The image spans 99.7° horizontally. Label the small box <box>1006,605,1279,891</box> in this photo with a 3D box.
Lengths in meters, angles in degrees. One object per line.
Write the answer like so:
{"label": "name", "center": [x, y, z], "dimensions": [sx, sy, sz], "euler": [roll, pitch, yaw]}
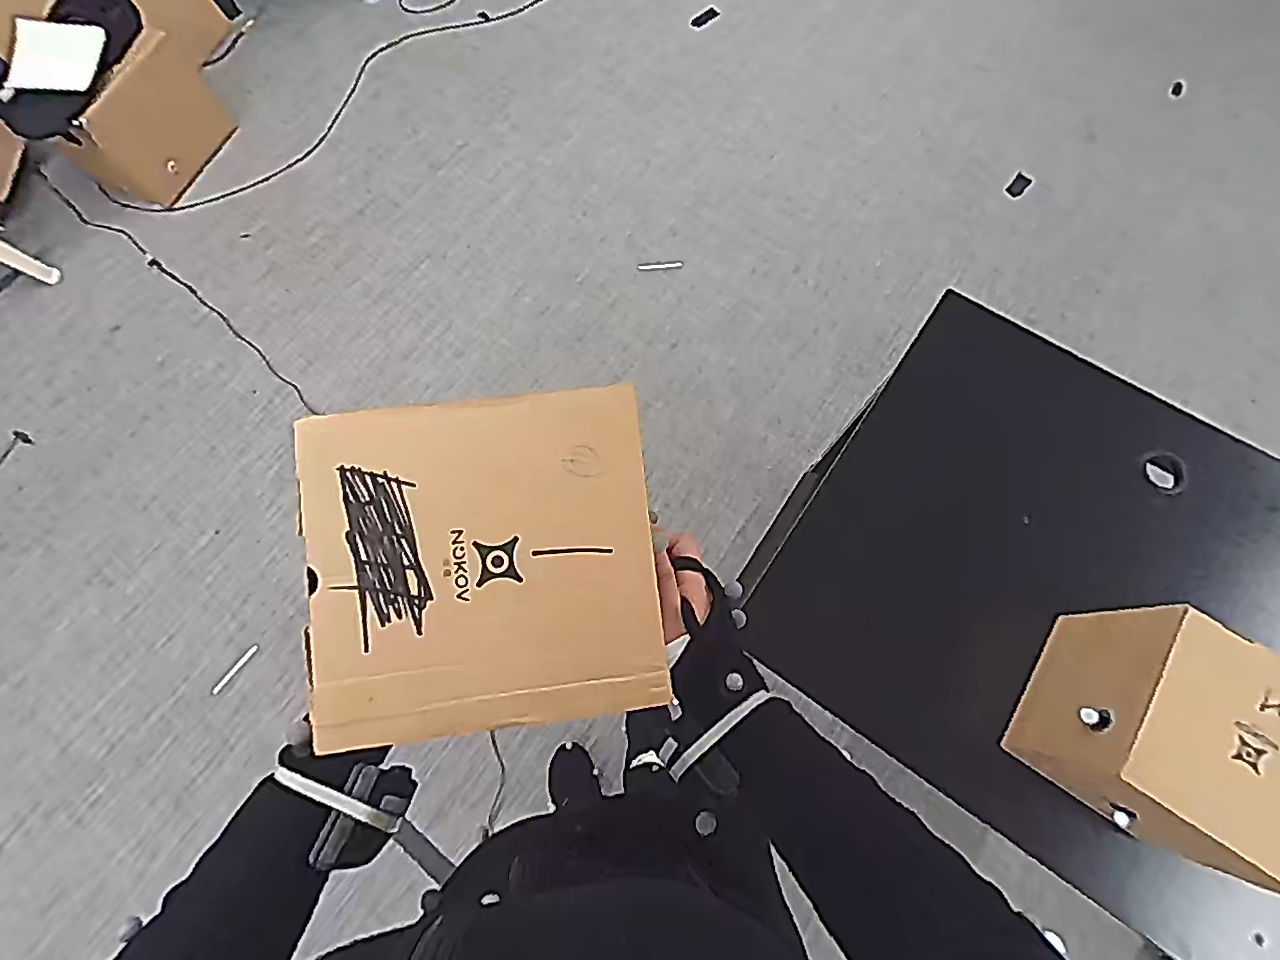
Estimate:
{"label": "small box", "center": [0.515, 0.251, 0.543], "dimensions": [0.168, 0.176, 0.179], "euler": [33, 75, 11]}

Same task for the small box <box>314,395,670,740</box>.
{"label": "small box", "center": [-0.081, 0.050, 0.361], "dimensions": [0.179, 0.176, 0.168], "euler": [-6, 86, -4]}
